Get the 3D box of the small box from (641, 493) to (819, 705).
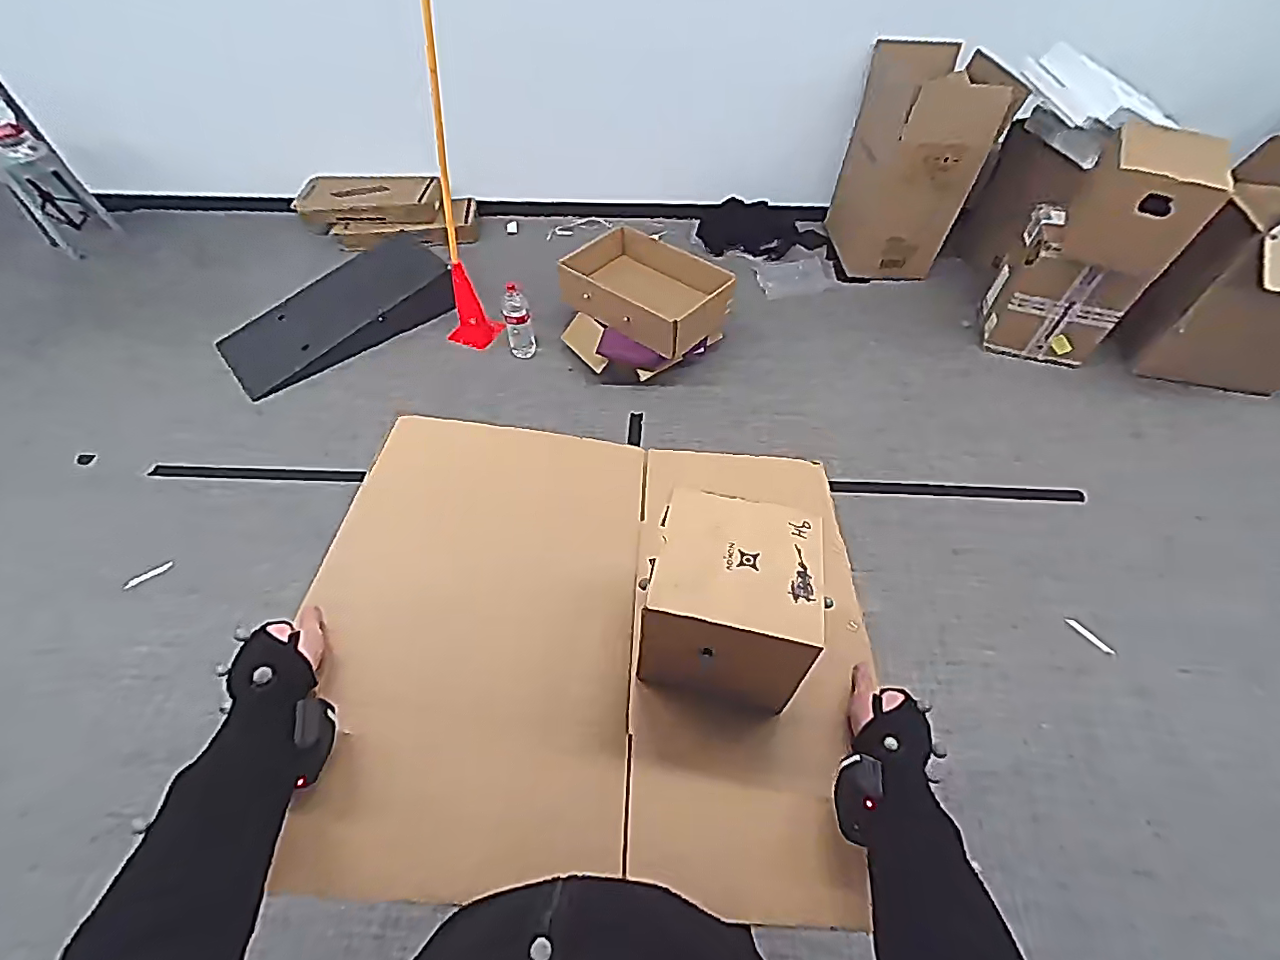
[{"bbox_3d":[0.101,0.142,0.634,0.179,0.176,0.168,10,48,7],"label":"small box"}]
